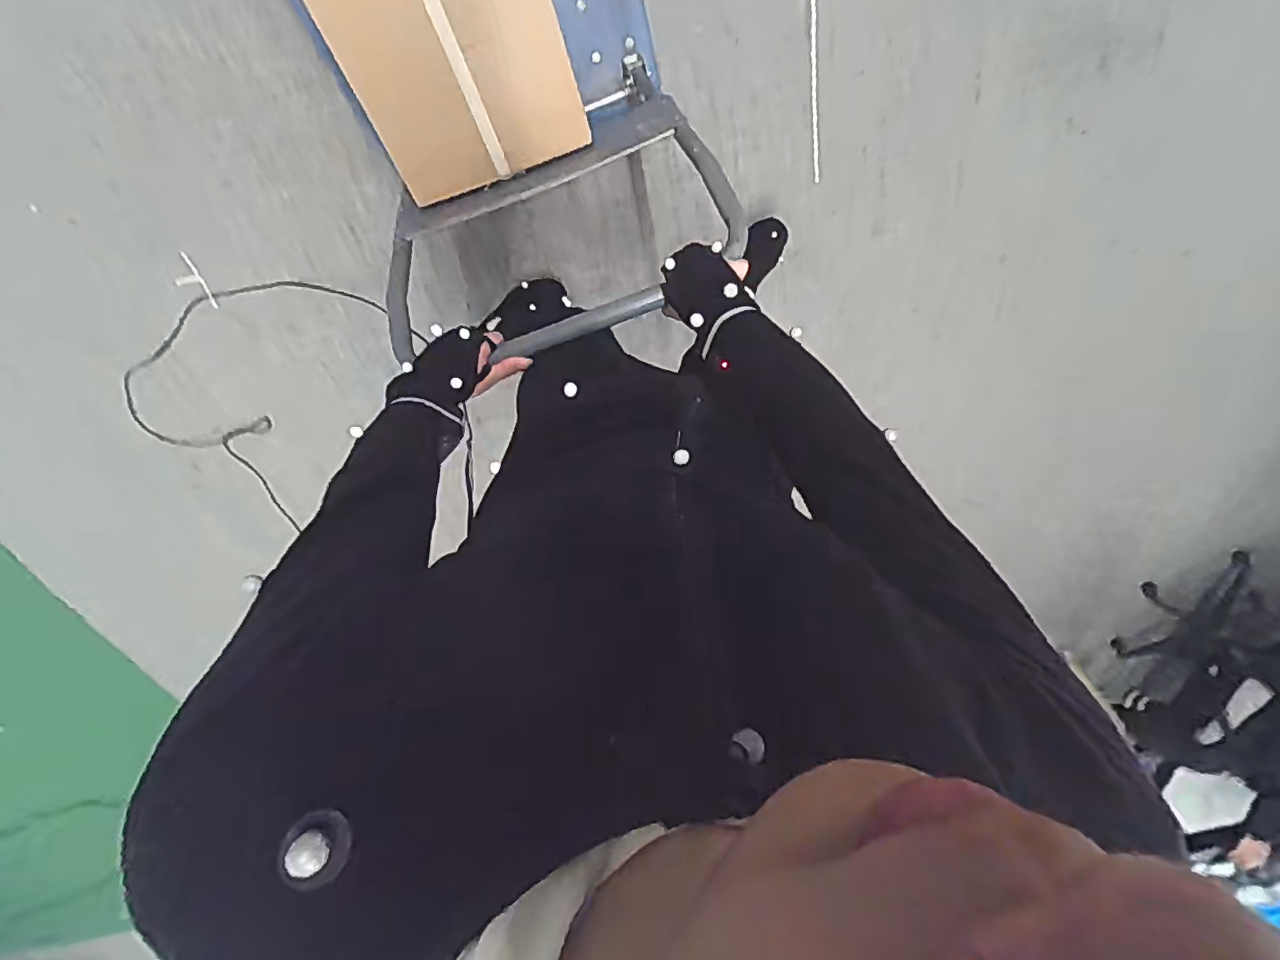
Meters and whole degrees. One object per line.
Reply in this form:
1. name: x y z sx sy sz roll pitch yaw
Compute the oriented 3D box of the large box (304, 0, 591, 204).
1. large box: -0.301 -0.736 0.852 0.320 0.320 0.408 -19 137 4
